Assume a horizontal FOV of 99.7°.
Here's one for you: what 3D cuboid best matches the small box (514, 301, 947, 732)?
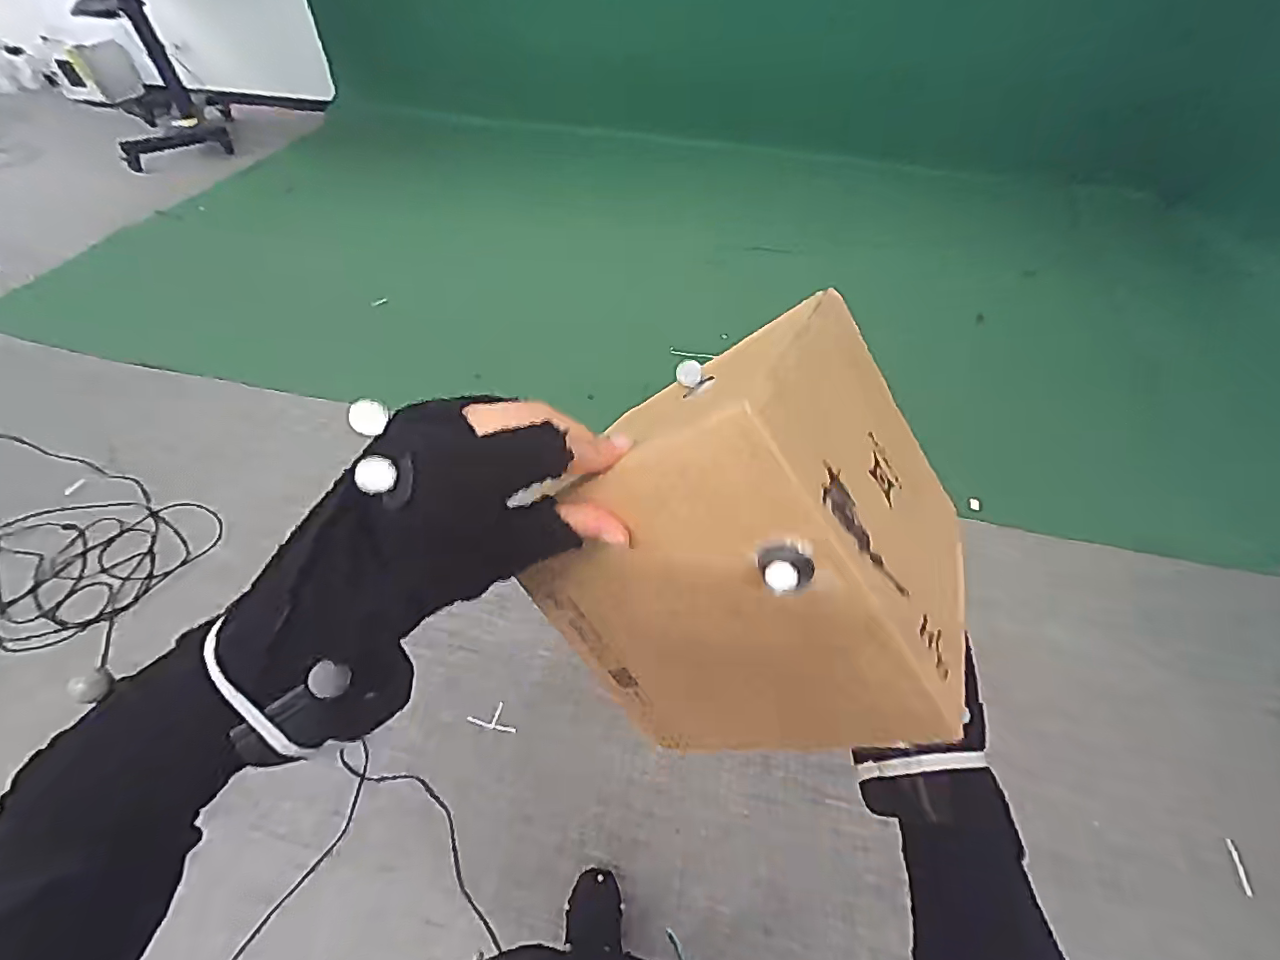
[{"bbox_3d":[0.059,0.022,0.328,0.168,0.176,0.179,54,38,-10],"label":"small box"}]
